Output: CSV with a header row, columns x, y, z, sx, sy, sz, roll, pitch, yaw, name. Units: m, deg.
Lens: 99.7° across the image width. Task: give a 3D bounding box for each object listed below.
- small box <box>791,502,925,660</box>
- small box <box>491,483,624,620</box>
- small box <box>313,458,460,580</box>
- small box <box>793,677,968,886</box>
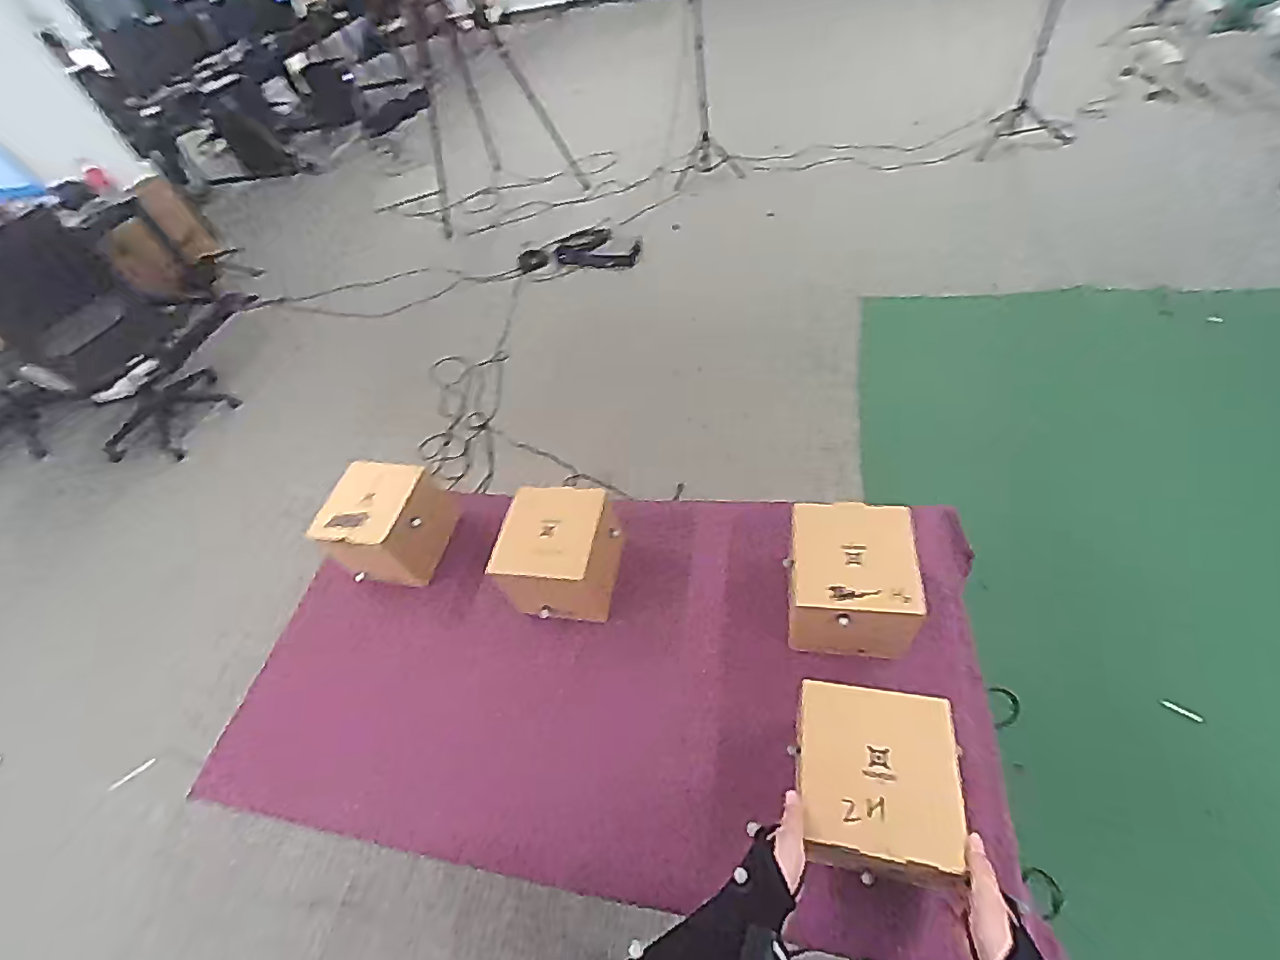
x,y,z,sx,sy,sz,roll,pitch,yaw,name
0.322,0.155,0.834,0.168,0.176,0.179,1,52,14,small box
-0.133,0.126,0.958,0.168,0.176,0.179,3,53,15,small box
-0.483,0.080,1.064,0.168,0.176,0.179,5,54,15,small box
0.280,0.370,0.666,0.168,0.176,0.179,3,52,16,small box
